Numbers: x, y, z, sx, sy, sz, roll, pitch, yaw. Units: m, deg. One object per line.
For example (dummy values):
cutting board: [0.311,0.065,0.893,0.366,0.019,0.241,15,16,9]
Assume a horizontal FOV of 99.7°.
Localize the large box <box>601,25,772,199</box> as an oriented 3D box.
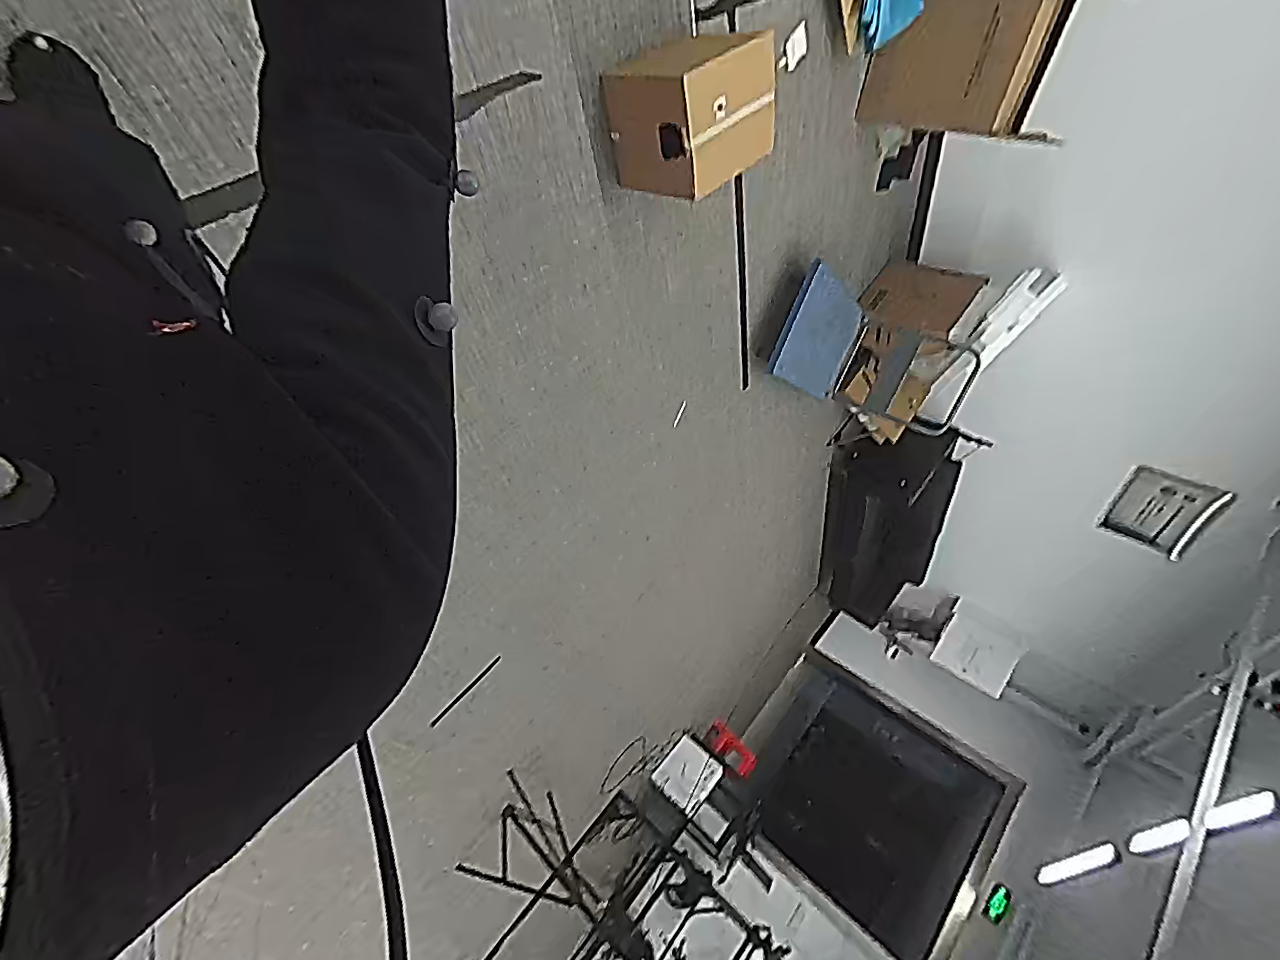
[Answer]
large box: [0.151,-1.110,1.621,0.408,0.320,0.320,-43,143,-23]
